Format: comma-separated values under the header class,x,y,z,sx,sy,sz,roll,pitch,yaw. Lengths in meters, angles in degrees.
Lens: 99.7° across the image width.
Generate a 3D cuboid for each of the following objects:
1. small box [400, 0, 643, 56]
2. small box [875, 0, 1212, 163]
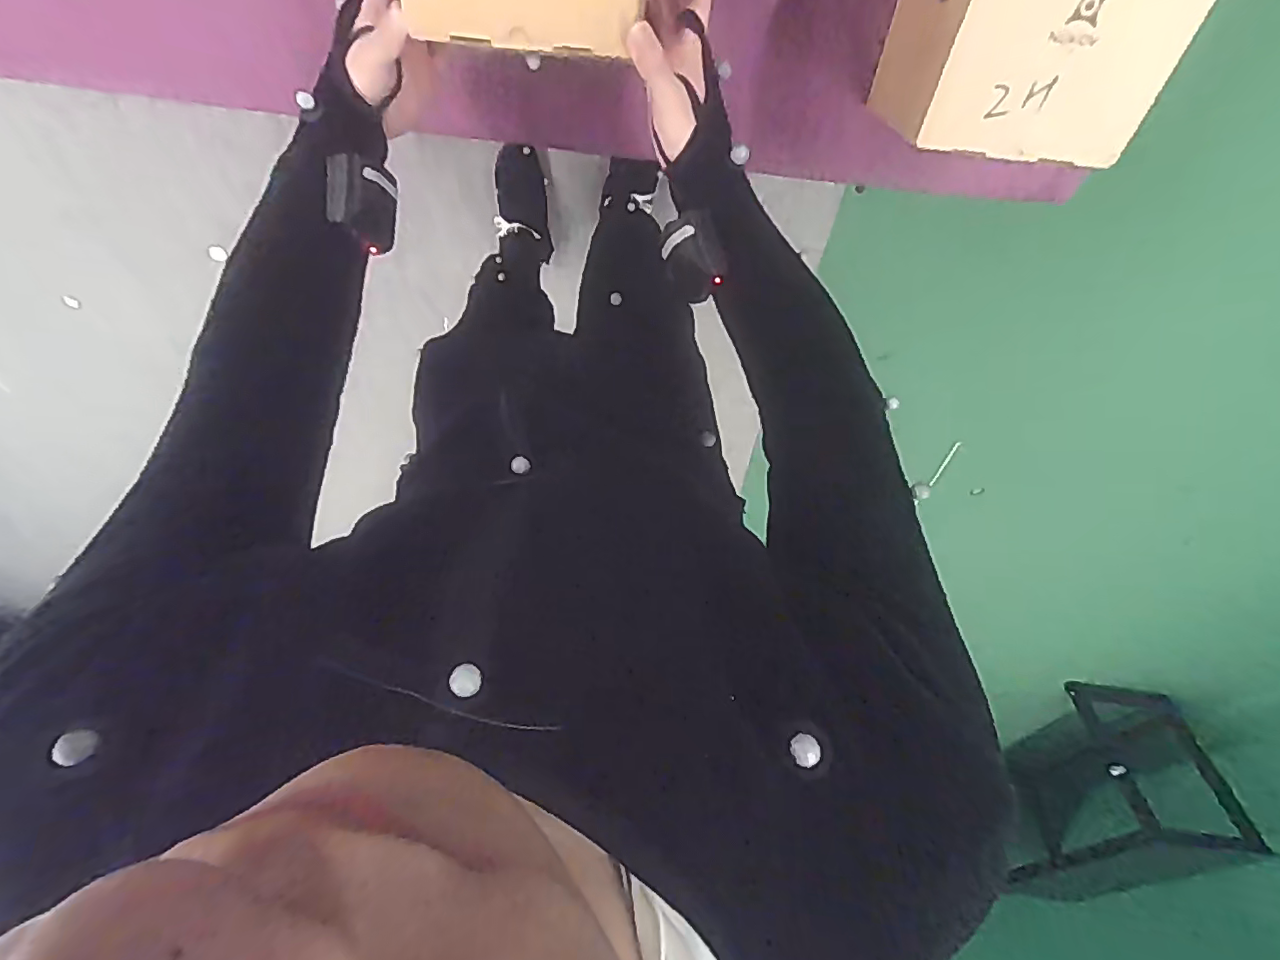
class,x,y,z,sx,sy,sz,roll,pitch,yaw
small box,-0.078,-0.430,0.397,0.168,0.176,0.179,4,129,-1
small box,0.311,-0.382,0.432,0.168,0.176,0.179,7,135,0
